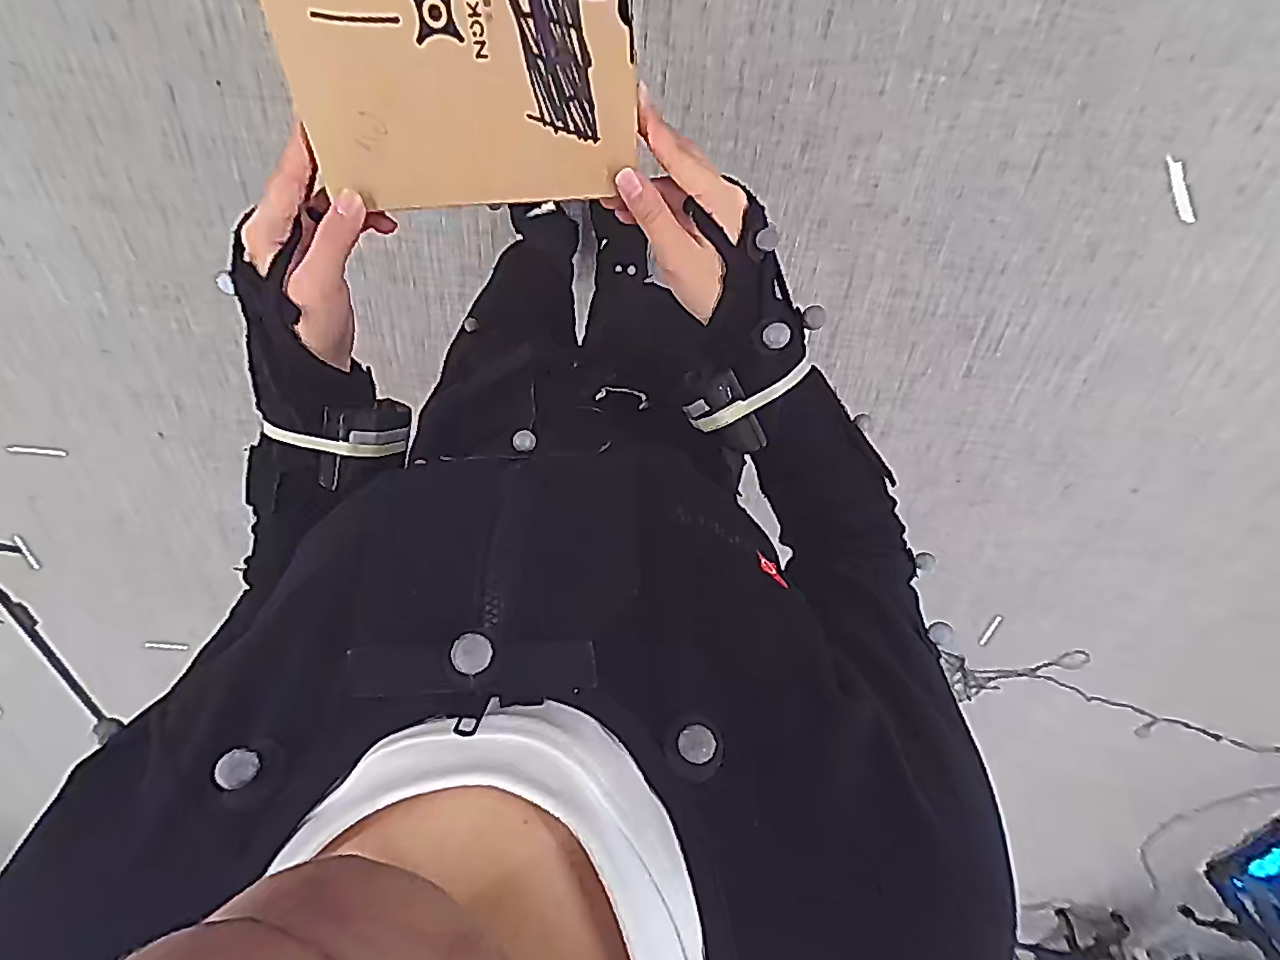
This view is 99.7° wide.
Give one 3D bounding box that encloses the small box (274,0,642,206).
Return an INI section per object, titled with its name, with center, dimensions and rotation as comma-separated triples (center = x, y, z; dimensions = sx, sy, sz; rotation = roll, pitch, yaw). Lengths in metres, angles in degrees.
[small box]
center = -0.095, -0.277, 0.330
dimensions = 0.179, 0.176, 0.168
rotation = -4, 127, -3
